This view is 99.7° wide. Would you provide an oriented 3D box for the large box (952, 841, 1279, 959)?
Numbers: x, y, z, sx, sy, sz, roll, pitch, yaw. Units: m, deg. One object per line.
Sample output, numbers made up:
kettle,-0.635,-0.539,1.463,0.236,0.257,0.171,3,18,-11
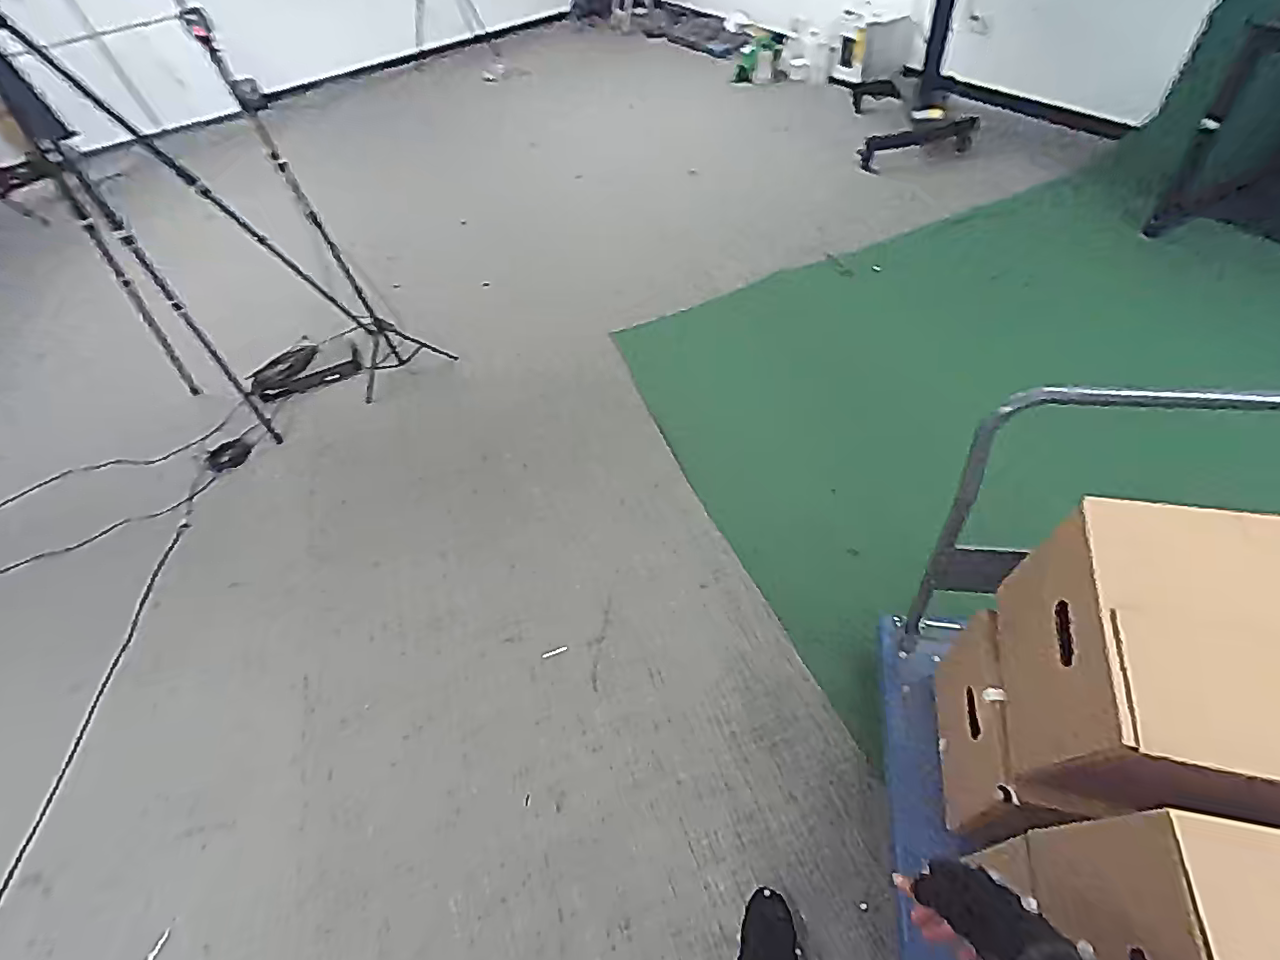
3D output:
large box,0.697,0.732,0.729,0.408,0.320,0.320,4,49,16
